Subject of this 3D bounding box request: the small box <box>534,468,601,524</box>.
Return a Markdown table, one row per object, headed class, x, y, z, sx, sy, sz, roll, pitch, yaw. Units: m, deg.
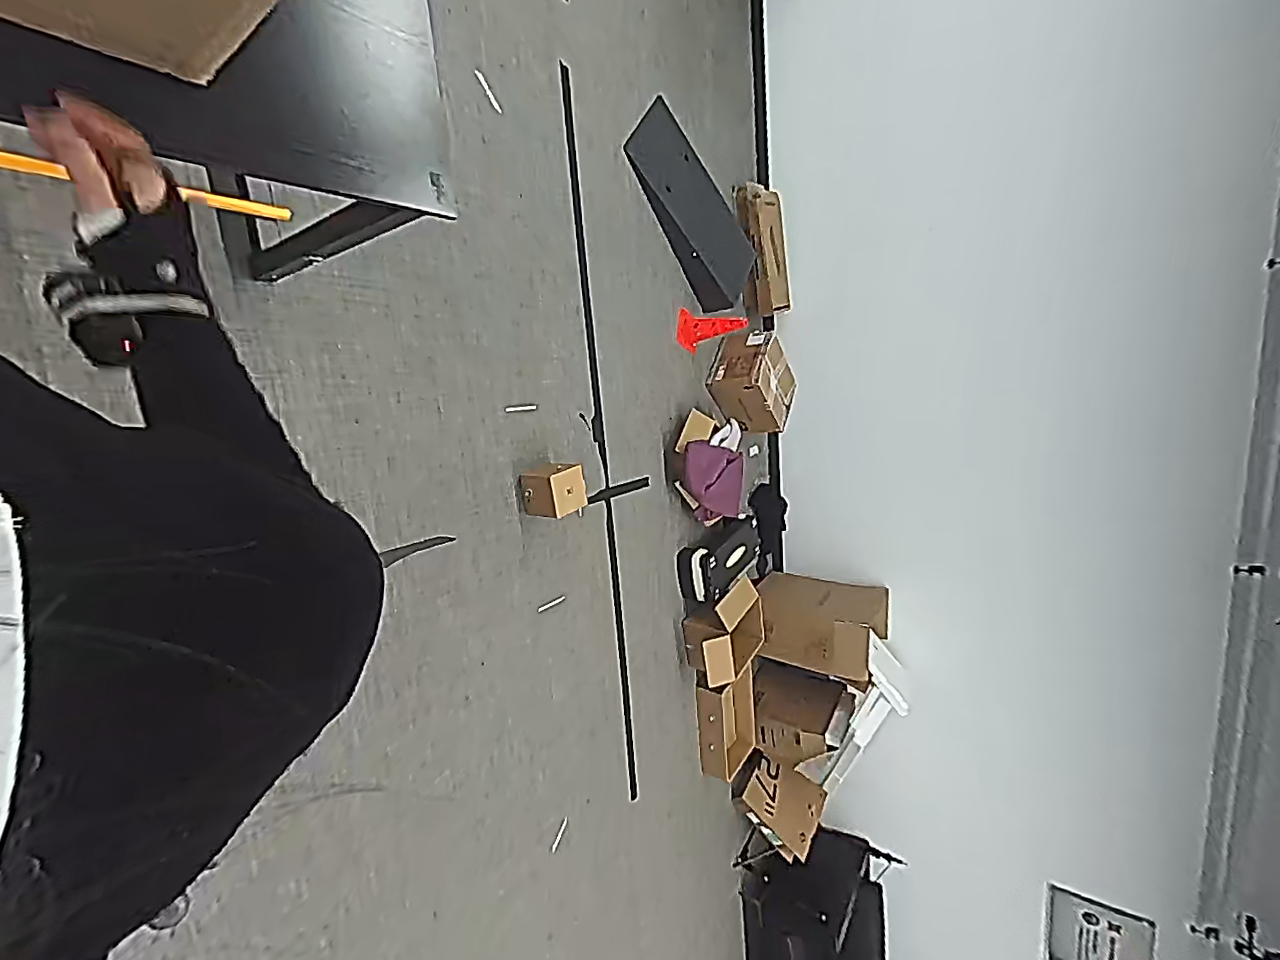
| class | x | y | z | sx | sy | sz | roll | pitch | yaw |
| --- | --- | --- | --- | --- | --- | --- | --- | --- | --- |
| small box | -0.273 | 0.054 | 2.048 | 0.179 | 0.176 | 0.168 | -27 | 114 | -50 |
